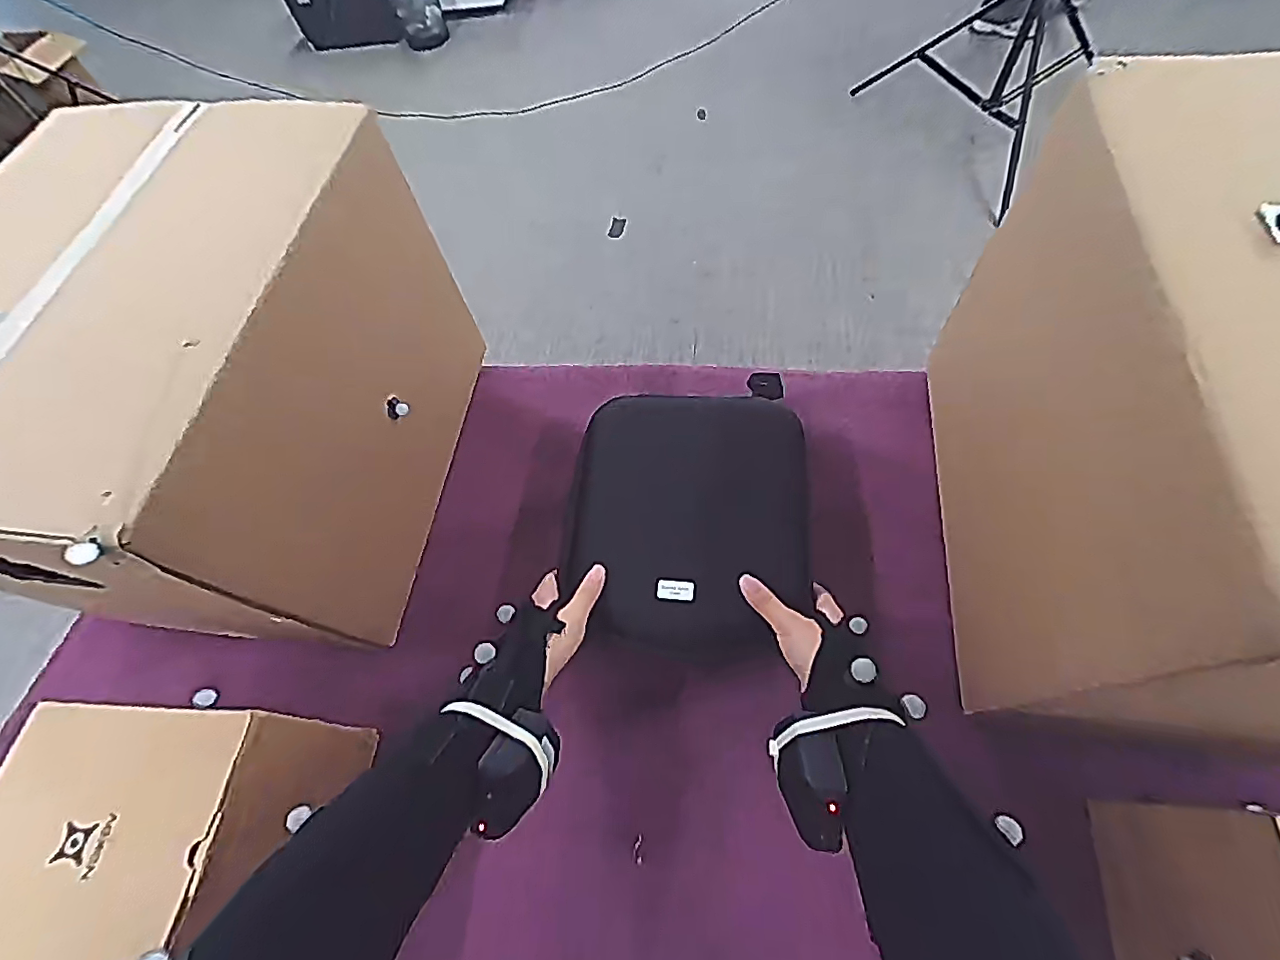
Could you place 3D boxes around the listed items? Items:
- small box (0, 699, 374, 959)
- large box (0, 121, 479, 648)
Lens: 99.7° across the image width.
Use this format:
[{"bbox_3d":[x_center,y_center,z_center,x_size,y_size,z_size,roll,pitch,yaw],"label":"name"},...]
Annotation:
[{"bbox_3d":[-0.348,0.273,0.418,0.179,0.176,0.168,0,60,6],"label":"small box"},{"bbox_3d":[-0.389,-0.075,0.533,0.320,0.320,0.408,3,64,7],"label":"large box"}]
